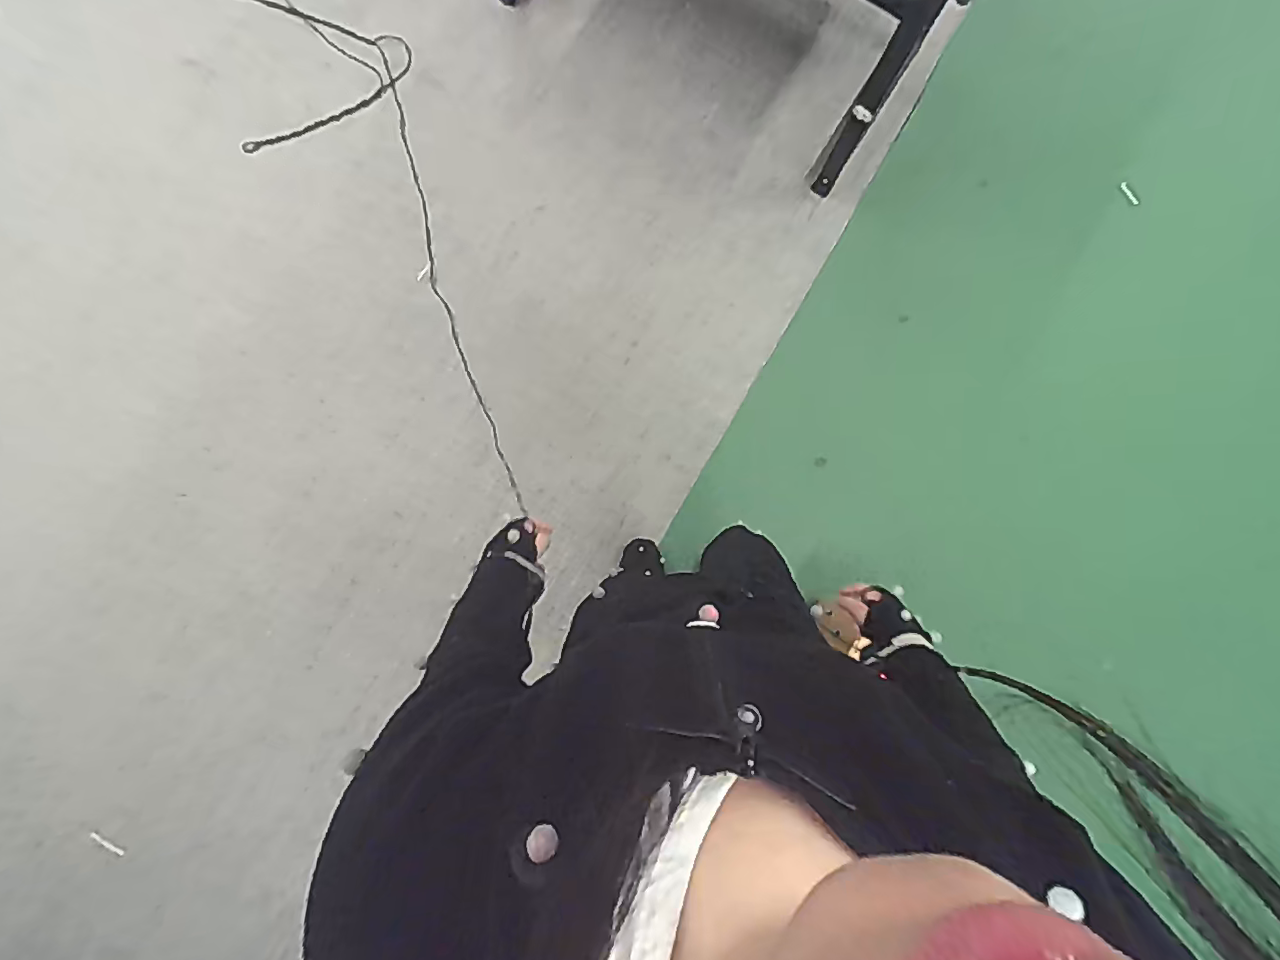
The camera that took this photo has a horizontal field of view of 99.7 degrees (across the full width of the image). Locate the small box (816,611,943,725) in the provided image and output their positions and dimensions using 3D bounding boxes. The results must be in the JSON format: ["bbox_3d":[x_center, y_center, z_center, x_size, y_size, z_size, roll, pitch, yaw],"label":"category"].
[{"bbox_3d":[0.540,0.419,1.242,0.179,0.176,0.168,32,86,2],"label":"small box"}]
